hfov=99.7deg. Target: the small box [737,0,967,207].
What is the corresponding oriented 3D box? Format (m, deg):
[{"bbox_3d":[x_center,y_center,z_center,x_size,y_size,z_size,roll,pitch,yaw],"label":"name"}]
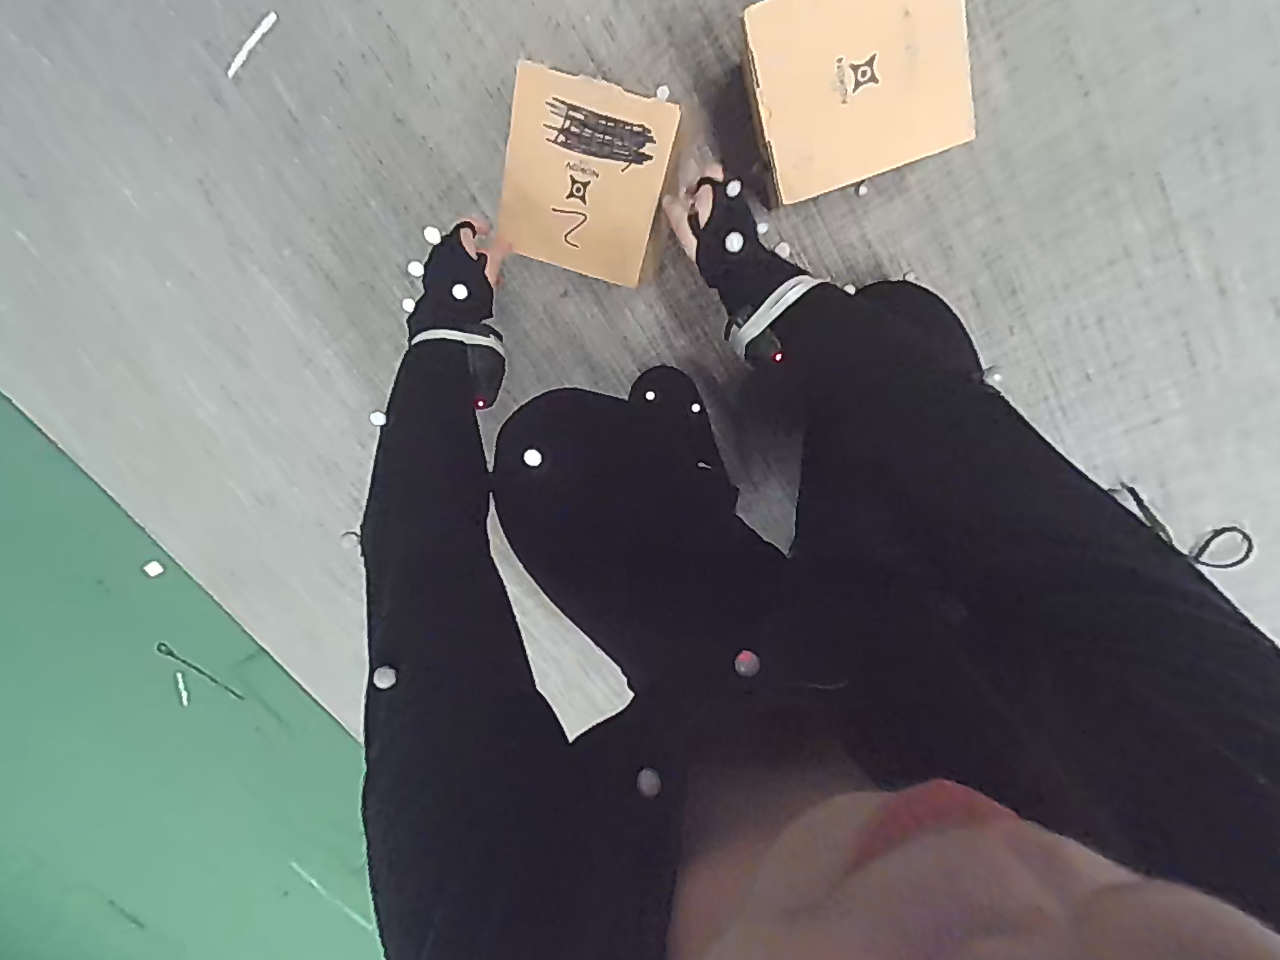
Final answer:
[{"bbox_3d":[0.203,-0.391,0.551,0.179,0.176,0.168,-13,112,15],"label":"small box"}]
